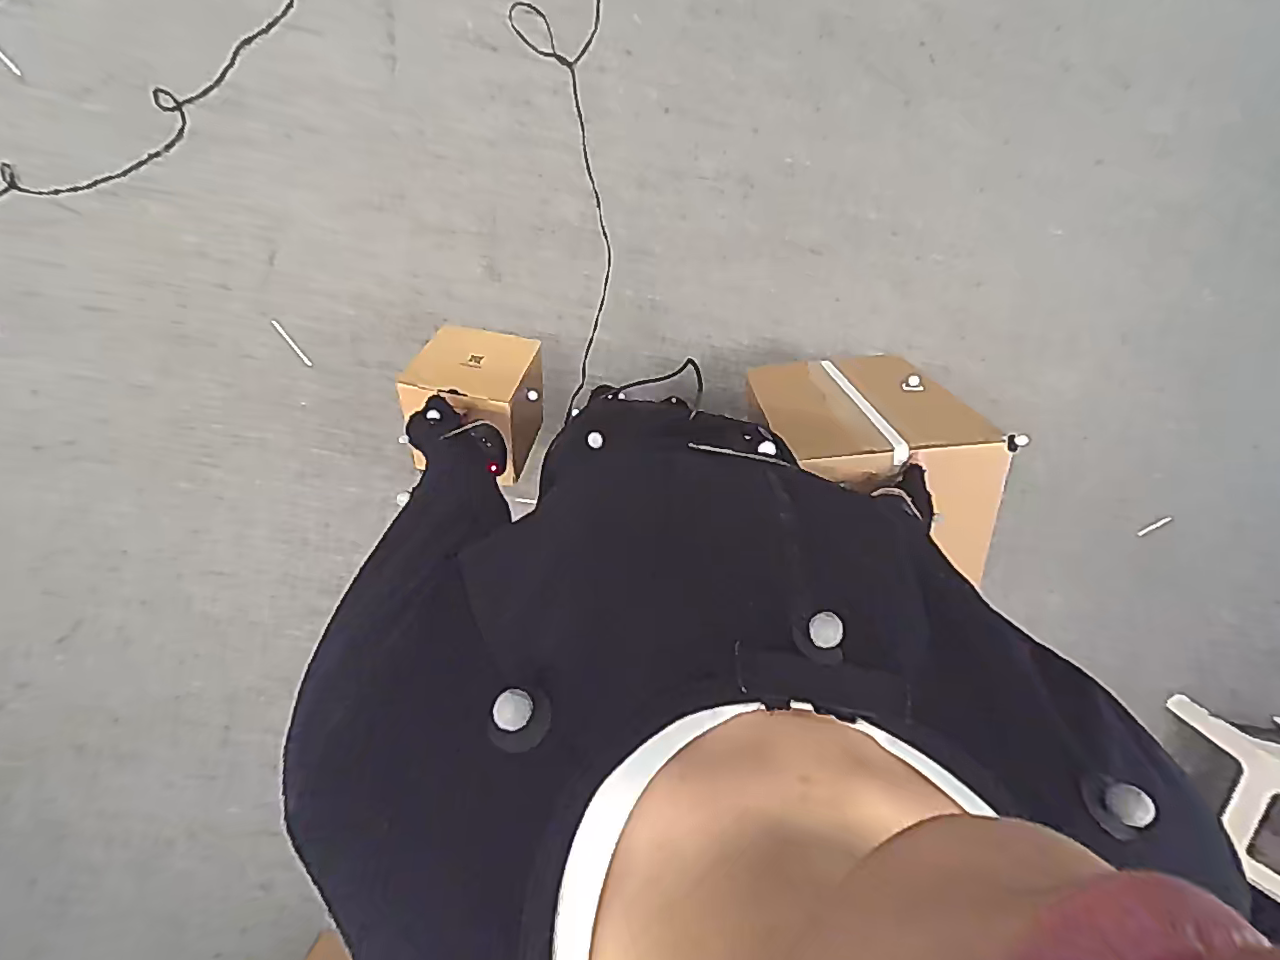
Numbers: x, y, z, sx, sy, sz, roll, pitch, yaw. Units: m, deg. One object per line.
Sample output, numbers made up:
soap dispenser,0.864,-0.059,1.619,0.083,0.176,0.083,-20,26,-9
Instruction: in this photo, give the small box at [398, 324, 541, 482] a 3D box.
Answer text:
small box,-0.264,-0.124,0.878,0.168,0.179,0.176,10,135,1
